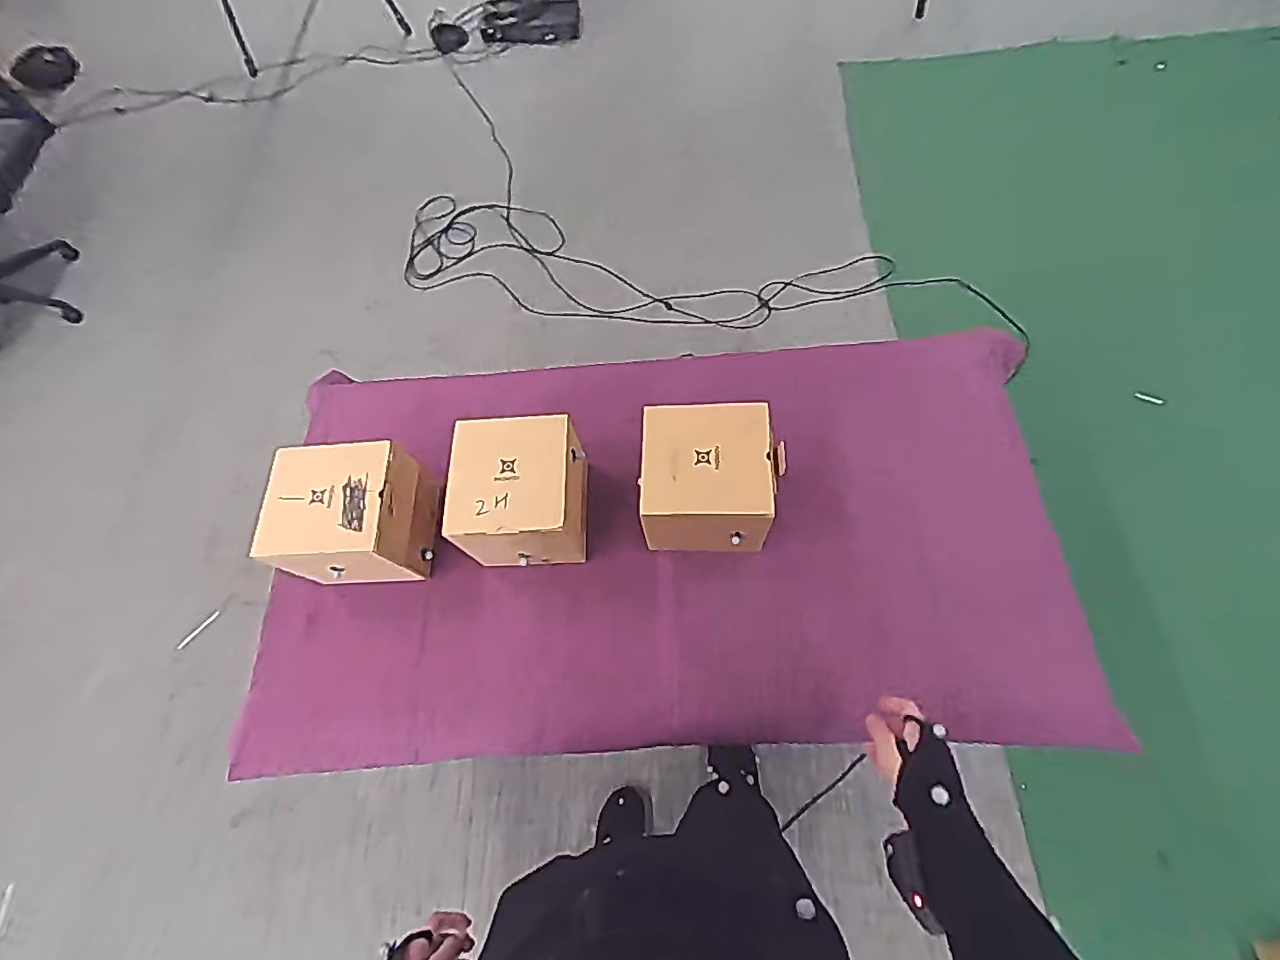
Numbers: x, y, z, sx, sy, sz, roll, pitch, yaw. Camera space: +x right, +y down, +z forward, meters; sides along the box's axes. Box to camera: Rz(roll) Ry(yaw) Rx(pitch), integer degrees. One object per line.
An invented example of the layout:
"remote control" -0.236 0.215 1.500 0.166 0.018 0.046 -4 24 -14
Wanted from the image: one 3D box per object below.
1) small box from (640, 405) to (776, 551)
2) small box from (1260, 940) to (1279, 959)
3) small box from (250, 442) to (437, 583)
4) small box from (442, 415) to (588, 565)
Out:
"small box" 0.096 0.003 0.796 0.179 0.176 0.168 0 67 6
"small box" 1.384 1.021 1.044 0.179 0.176 0.168 -5 66 2
"small box" -0.427 0.055 0.814 0.179 0.176 0.168 -3 67 4
"small box" -0.174 0.020 0.809 0.168 0.176 0.179 -3 67 4
